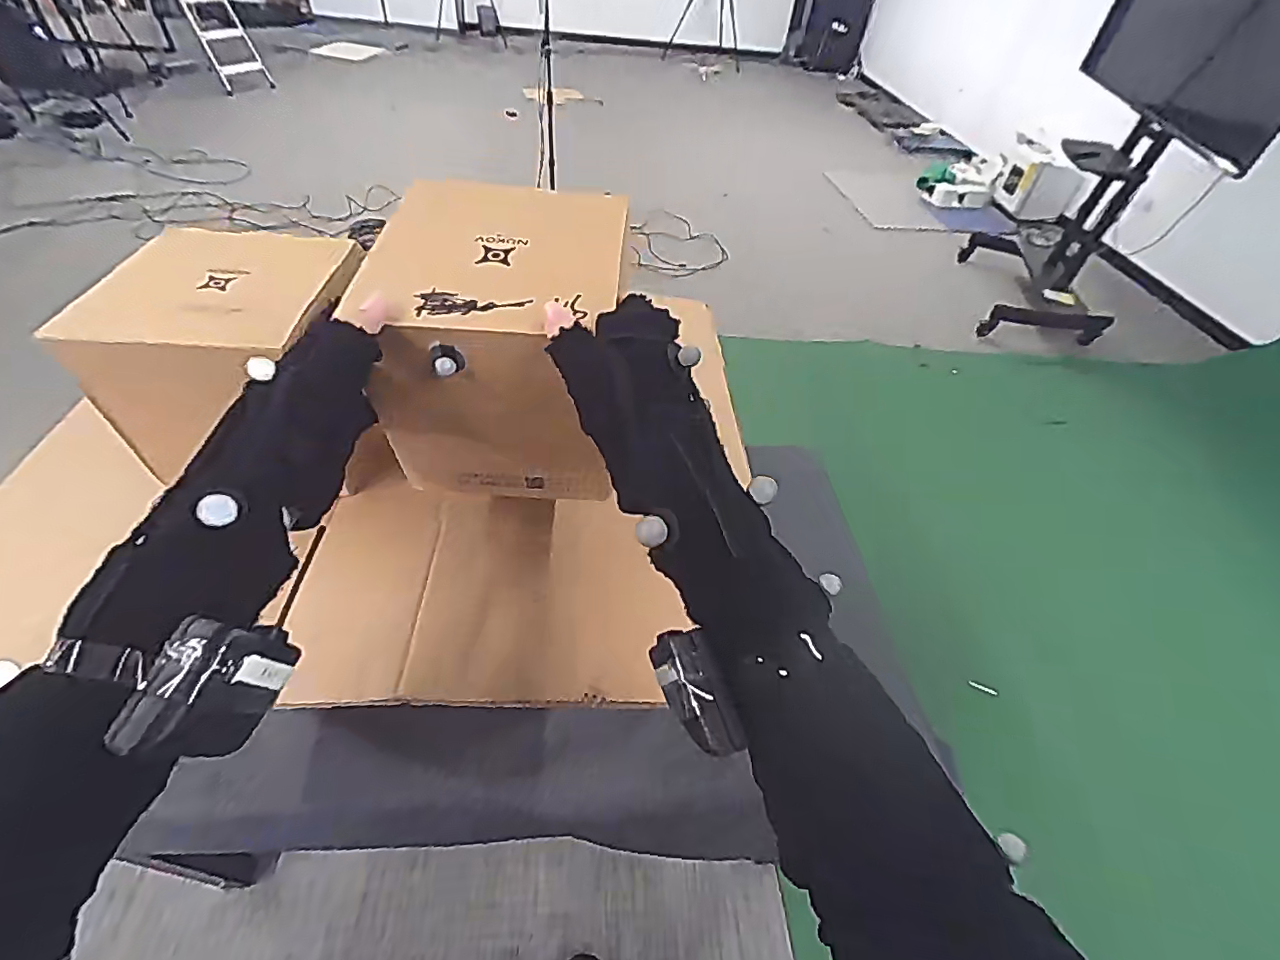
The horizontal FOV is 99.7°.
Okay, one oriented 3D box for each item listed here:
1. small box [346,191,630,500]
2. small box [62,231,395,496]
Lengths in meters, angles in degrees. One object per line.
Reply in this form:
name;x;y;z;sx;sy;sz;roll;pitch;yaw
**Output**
small box;-0.098;-0.106;0.441;0.168;0.176;0.179;3;52;0
small box;-0.342;-0.106;0.506;0.168;0.176;0.179;1;50;-4
